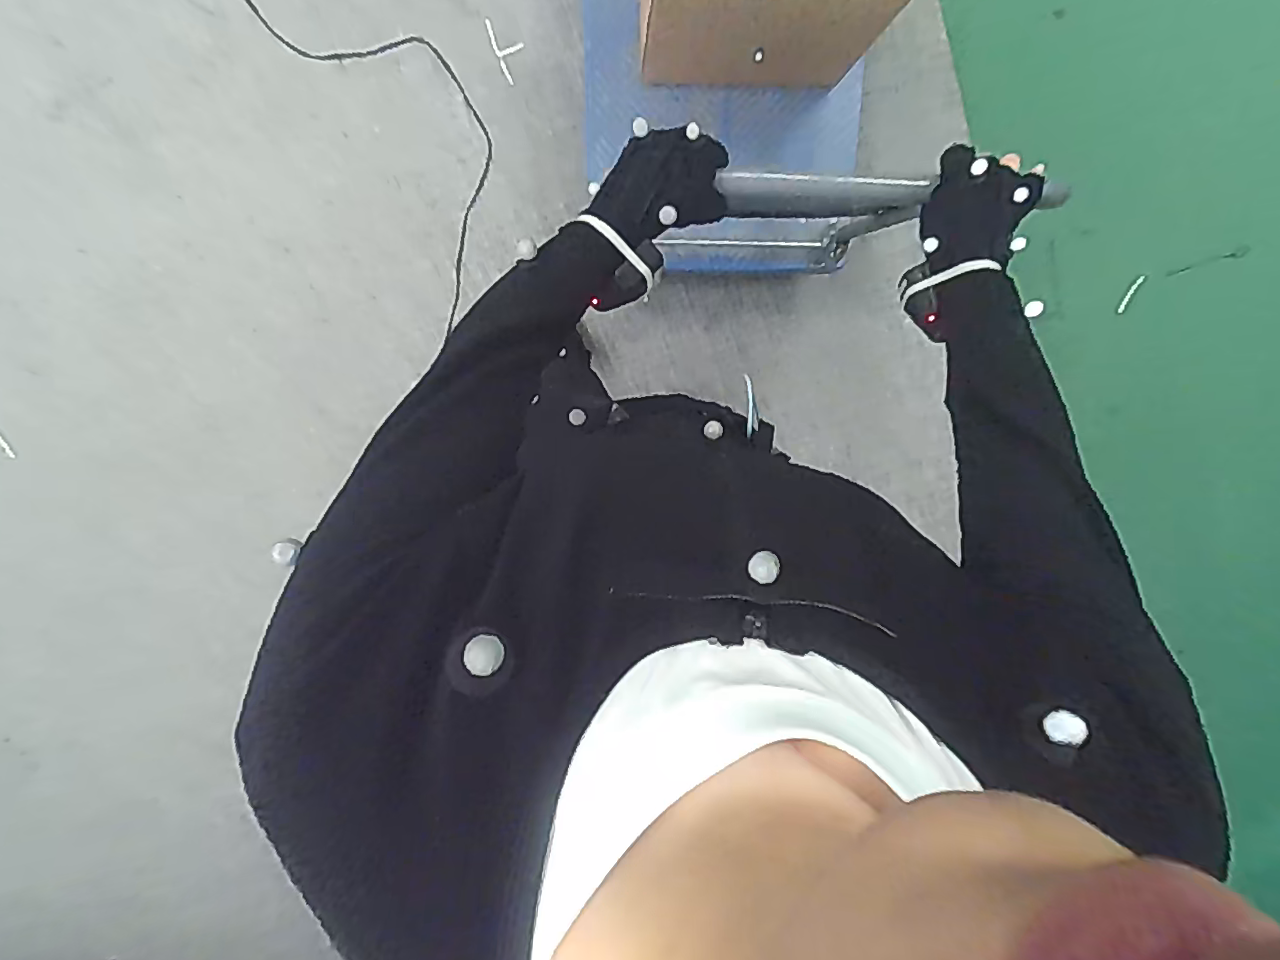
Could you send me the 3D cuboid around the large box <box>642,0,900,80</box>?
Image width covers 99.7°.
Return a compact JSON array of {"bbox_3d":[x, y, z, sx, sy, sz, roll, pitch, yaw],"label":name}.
[{"bbox_3d":[0.210,-0.931,0.930,0.408,0.320,0.320,-2,104,-3],"label":"large box"}]
